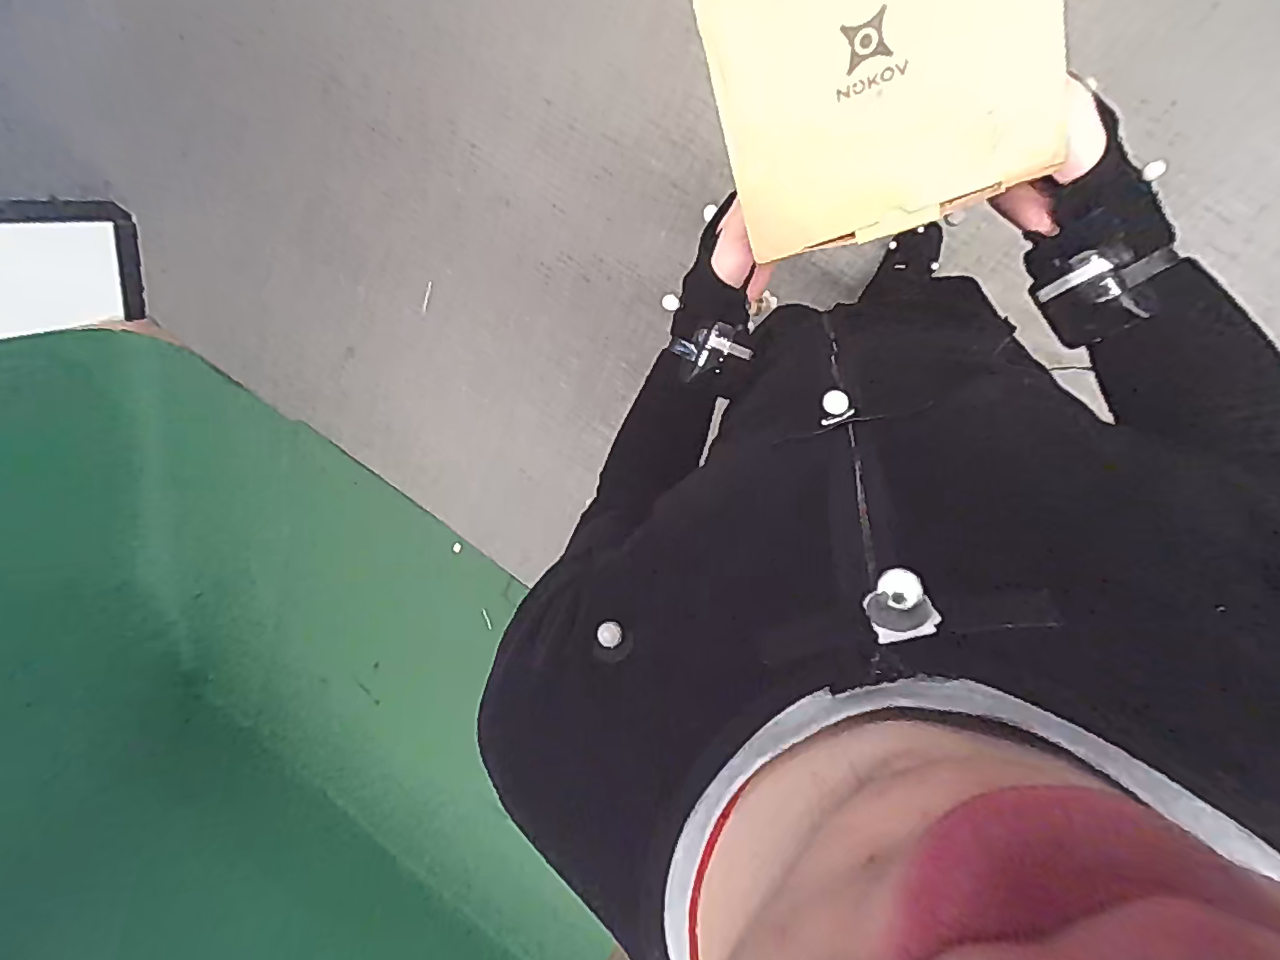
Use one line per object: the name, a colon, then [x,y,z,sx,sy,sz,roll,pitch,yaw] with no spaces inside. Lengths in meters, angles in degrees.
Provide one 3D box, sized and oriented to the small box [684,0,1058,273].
small box: [0.146,-0.255,0.352,0.168,0.176,0.179,-10,109,28]
